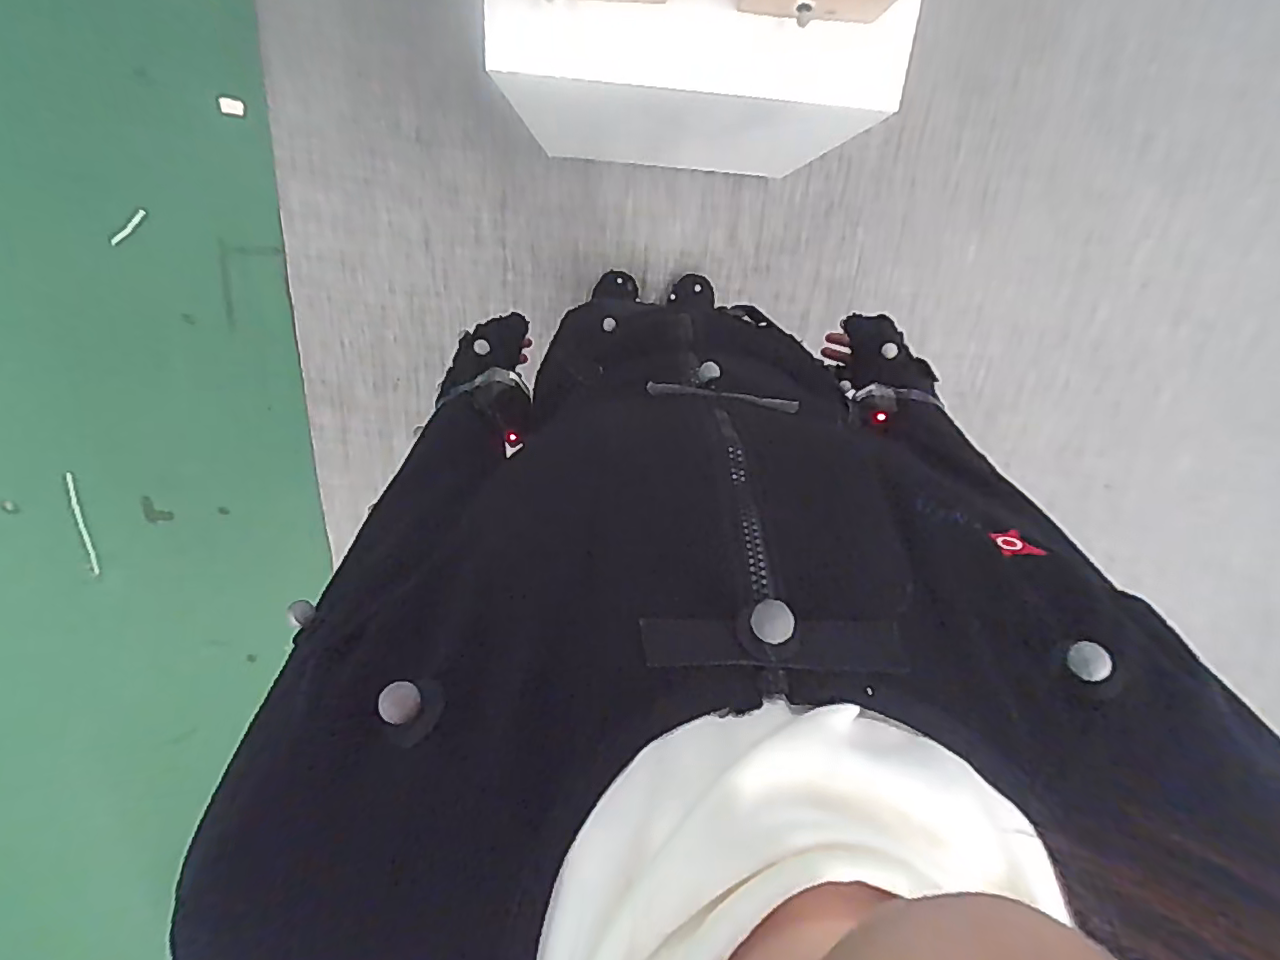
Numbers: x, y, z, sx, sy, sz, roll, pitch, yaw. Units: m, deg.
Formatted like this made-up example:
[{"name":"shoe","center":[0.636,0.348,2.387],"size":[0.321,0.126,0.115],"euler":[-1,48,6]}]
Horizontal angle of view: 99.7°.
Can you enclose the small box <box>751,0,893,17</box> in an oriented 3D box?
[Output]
[{"name":"small box","center":[0.201,-0.585,0.513],"size":[0.168,0.176,0.179],"euler":[2,114,0]}]
